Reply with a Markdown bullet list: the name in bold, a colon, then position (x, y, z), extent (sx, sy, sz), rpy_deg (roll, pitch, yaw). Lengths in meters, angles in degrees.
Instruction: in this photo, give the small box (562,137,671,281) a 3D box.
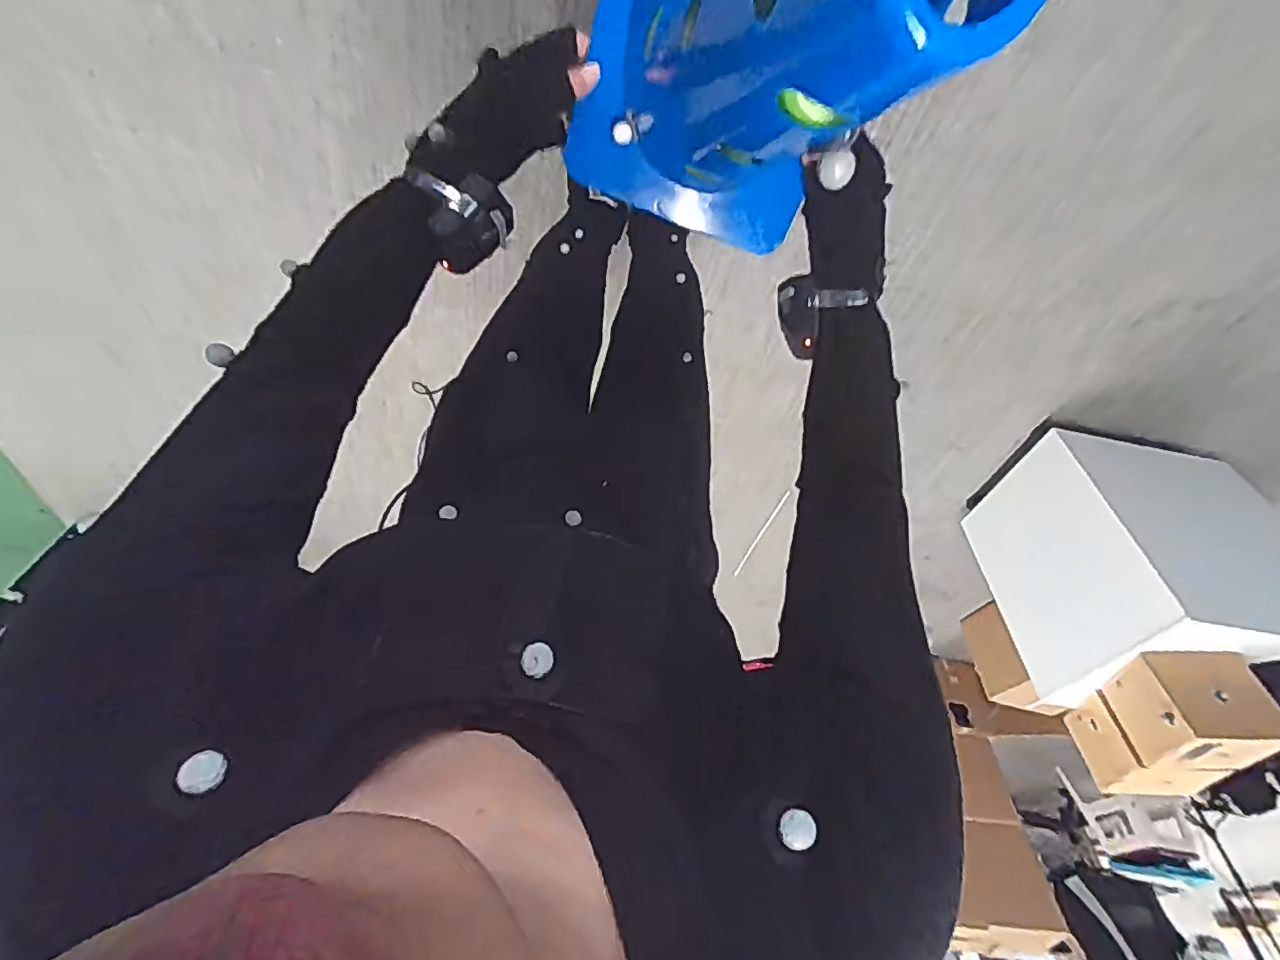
- **small box**: position (-0.056, -0.531, 1.065), extent (0.168, 0.176, 0.179), rpy_deg (6, 140, -20)
